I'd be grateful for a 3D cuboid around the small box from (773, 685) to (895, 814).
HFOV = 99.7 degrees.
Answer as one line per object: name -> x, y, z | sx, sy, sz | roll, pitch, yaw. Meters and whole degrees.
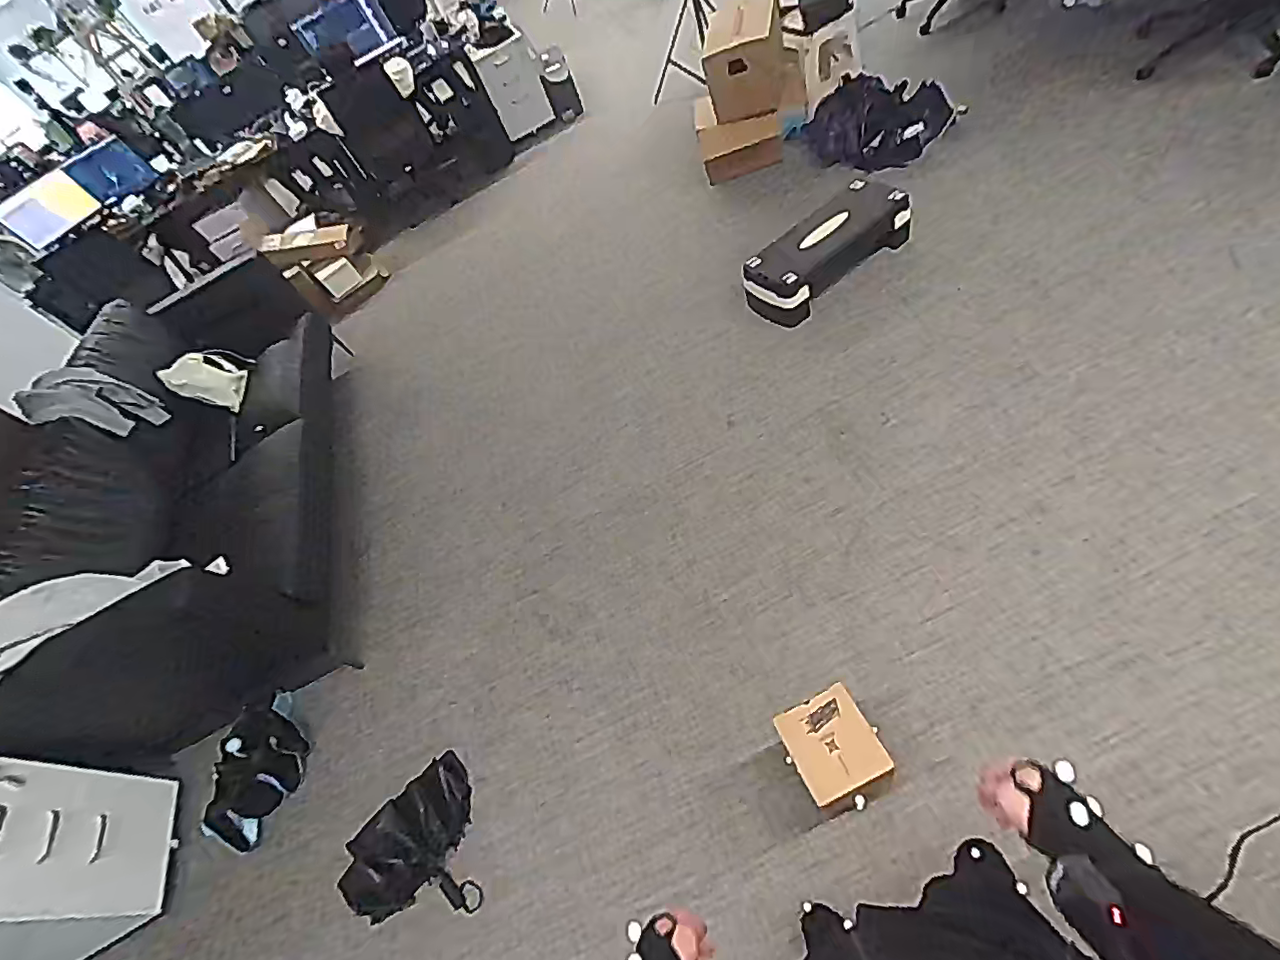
small box -> 0.399, 0.562, 1.120 | 0.168, 0.176, 0.179 | -30, 50, 2
